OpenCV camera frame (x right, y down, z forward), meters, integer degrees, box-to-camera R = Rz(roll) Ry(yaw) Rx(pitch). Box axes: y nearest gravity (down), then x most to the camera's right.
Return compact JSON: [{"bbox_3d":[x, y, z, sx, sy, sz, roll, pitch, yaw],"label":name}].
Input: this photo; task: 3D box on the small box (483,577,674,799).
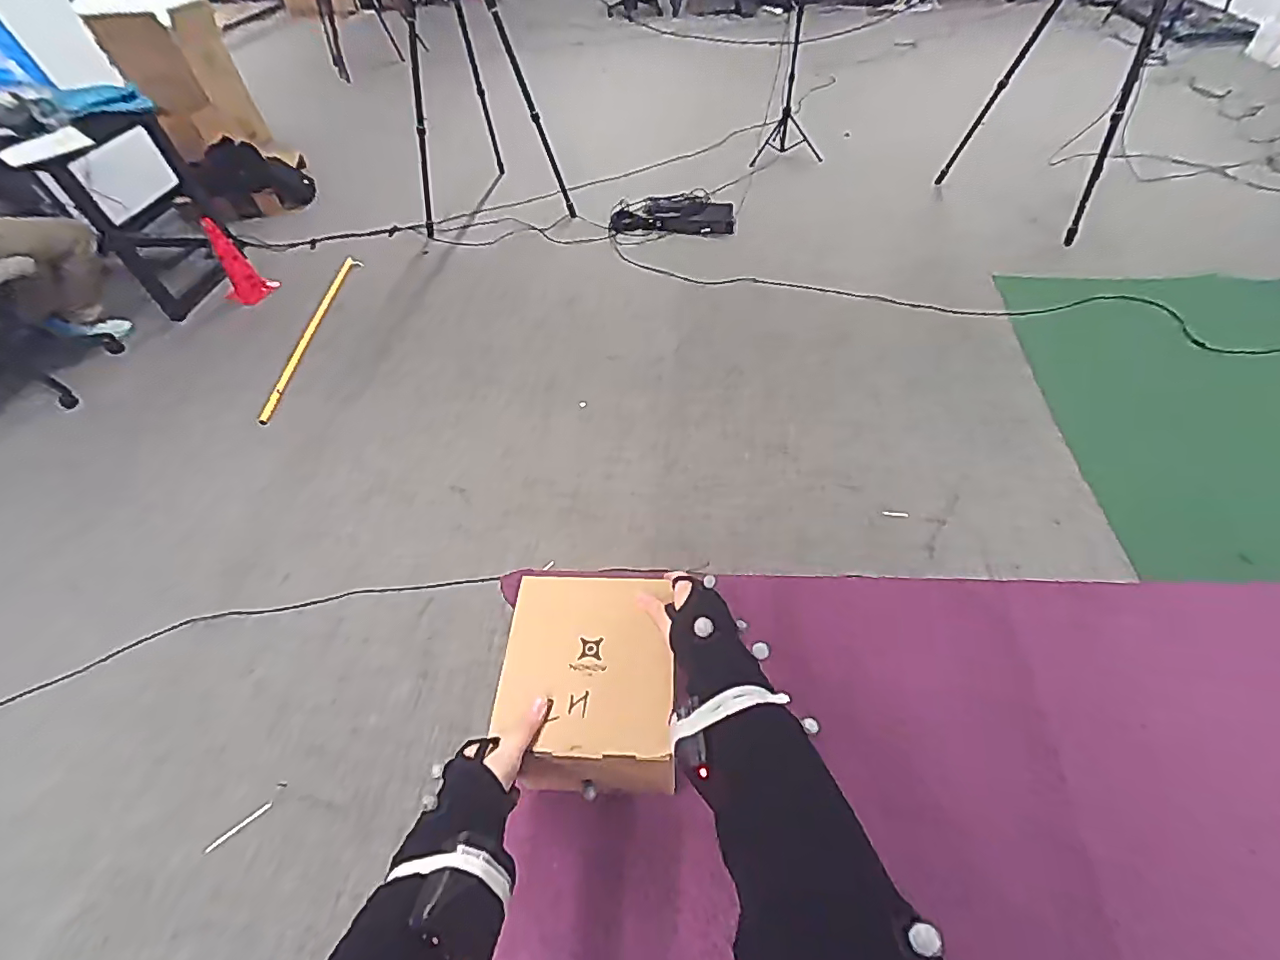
[{"bbox_3d":[-0.048,0.224,0.583,0.168,0.176,0.179,1,51,5],"label":"small box"}]
